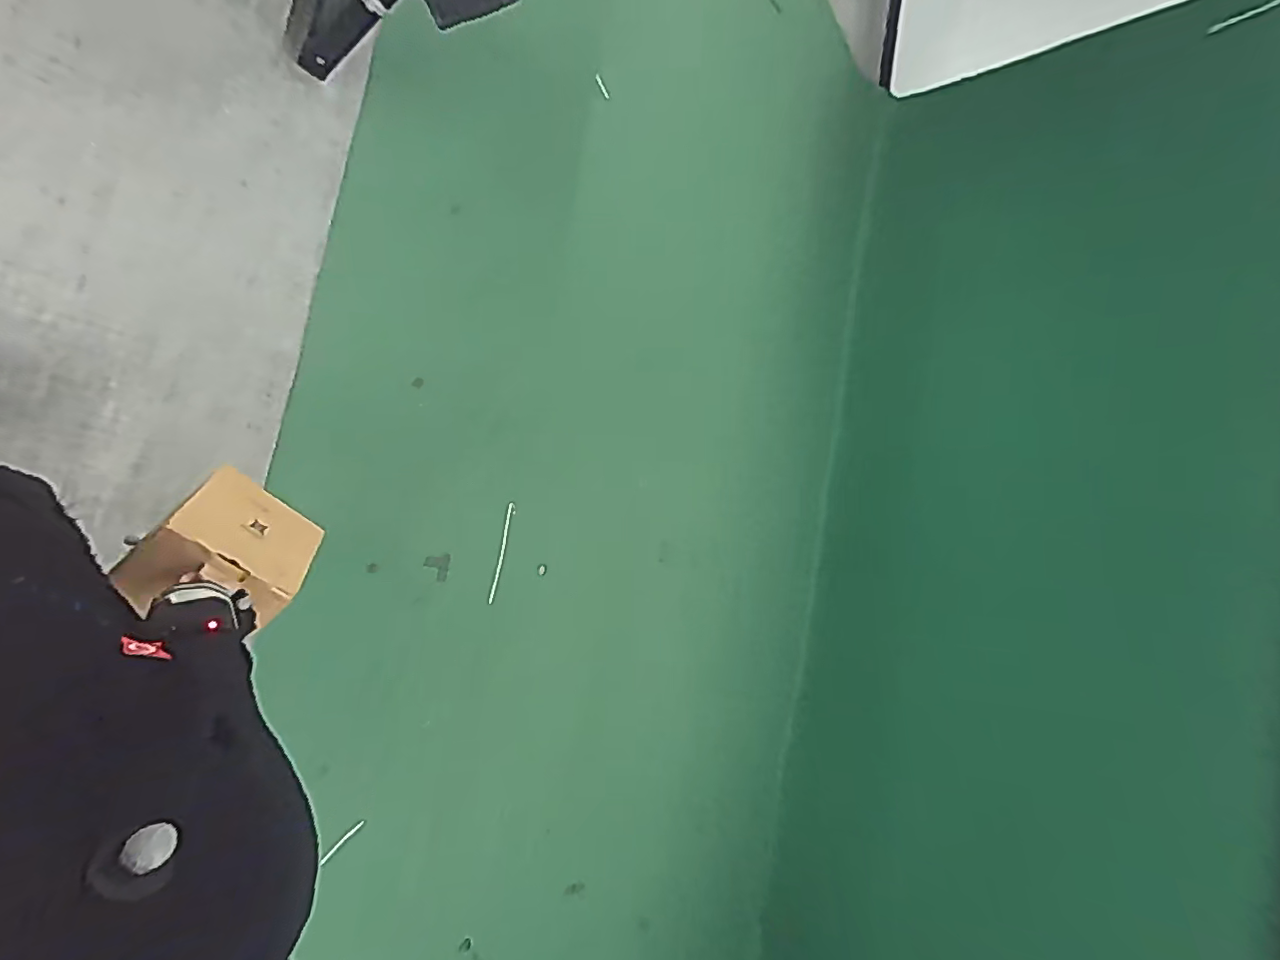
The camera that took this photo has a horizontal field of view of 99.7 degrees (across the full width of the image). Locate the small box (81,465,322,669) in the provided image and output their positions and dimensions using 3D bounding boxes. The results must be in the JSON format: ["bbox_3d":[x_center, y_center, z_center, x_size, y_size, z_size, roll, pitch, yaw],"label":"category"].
[{"bbox_3d":[-0.577,0.117,0.728,0.176,0.179,0.168,-40,120,2],"label":"small box"}]
